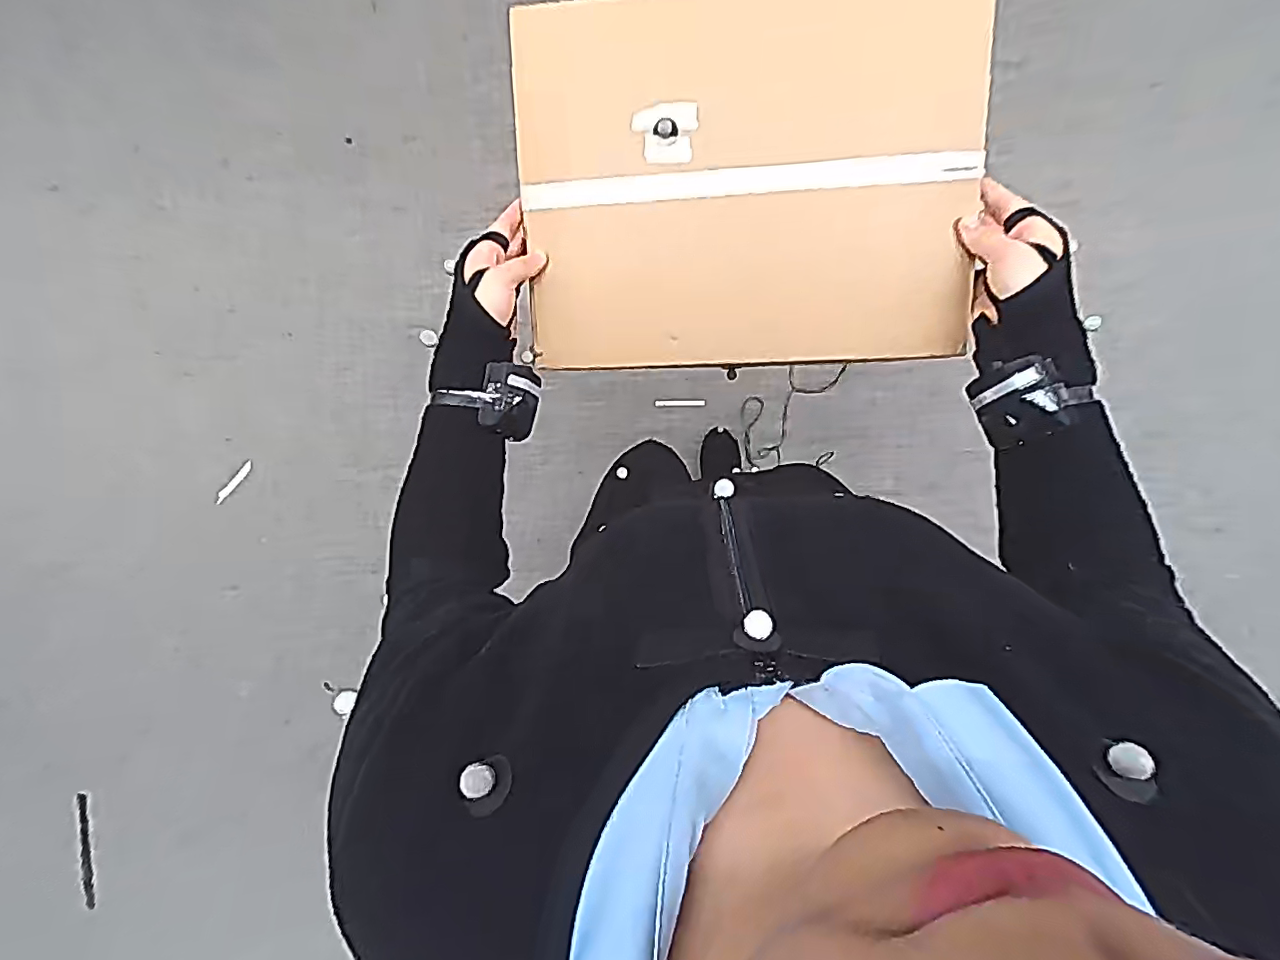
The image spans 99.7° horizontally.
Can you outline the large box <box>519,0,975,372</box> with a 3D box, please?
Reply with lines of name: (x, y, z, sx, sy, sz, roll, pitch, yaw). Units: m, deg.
large box: (0.110, -0.295, 0.644, 0.408, 0.320, 0.320, -1, 99, 7)
